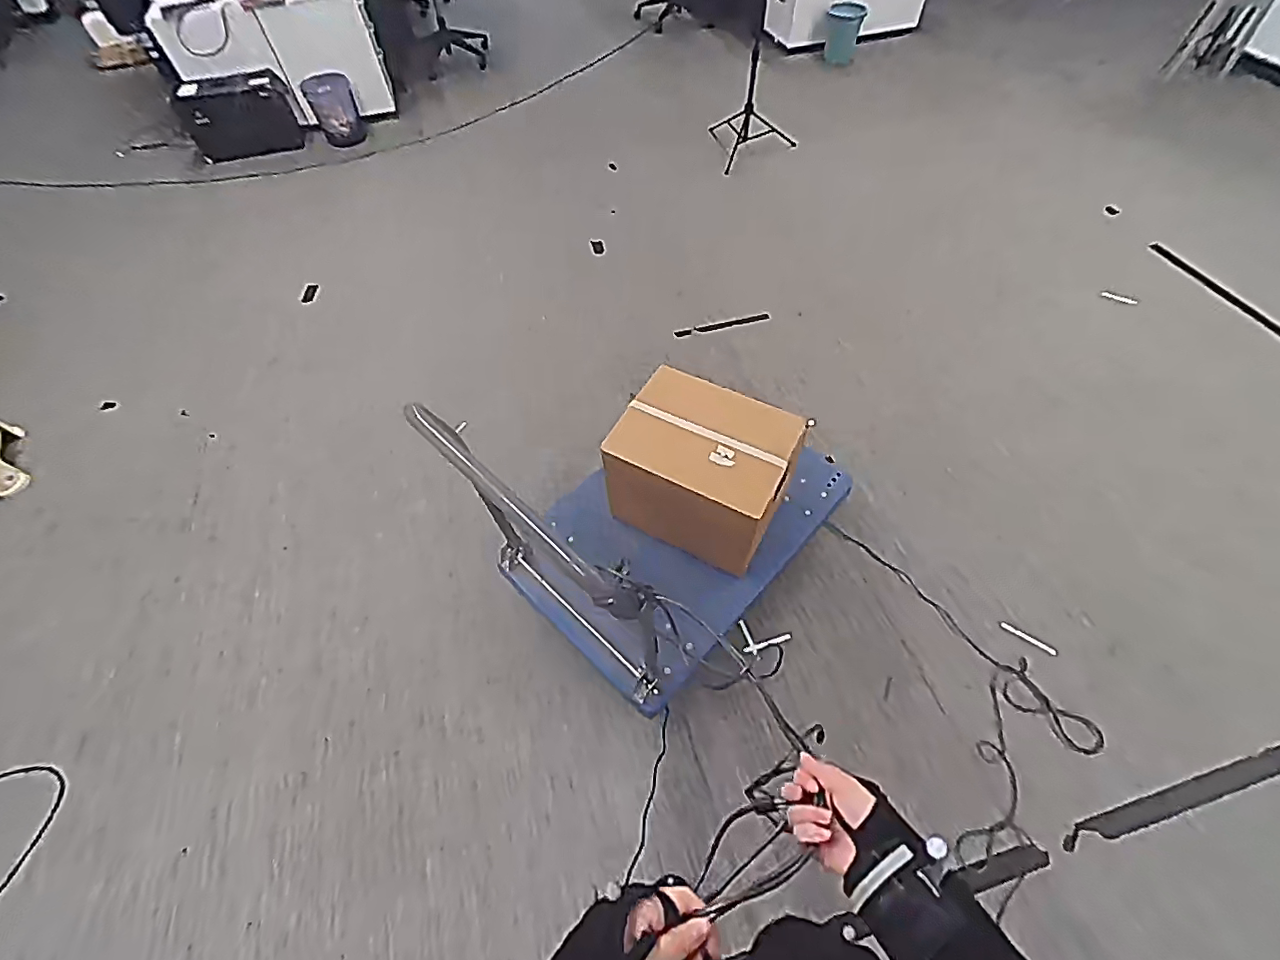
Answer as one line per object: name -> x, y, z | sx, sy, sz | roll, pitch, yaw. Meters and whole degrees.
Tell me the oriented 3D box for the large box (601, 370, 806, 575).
large box -> 0.152, -0.019, 1.391 | 0.408, 0.320, 0.320 | 24, 61, 16
